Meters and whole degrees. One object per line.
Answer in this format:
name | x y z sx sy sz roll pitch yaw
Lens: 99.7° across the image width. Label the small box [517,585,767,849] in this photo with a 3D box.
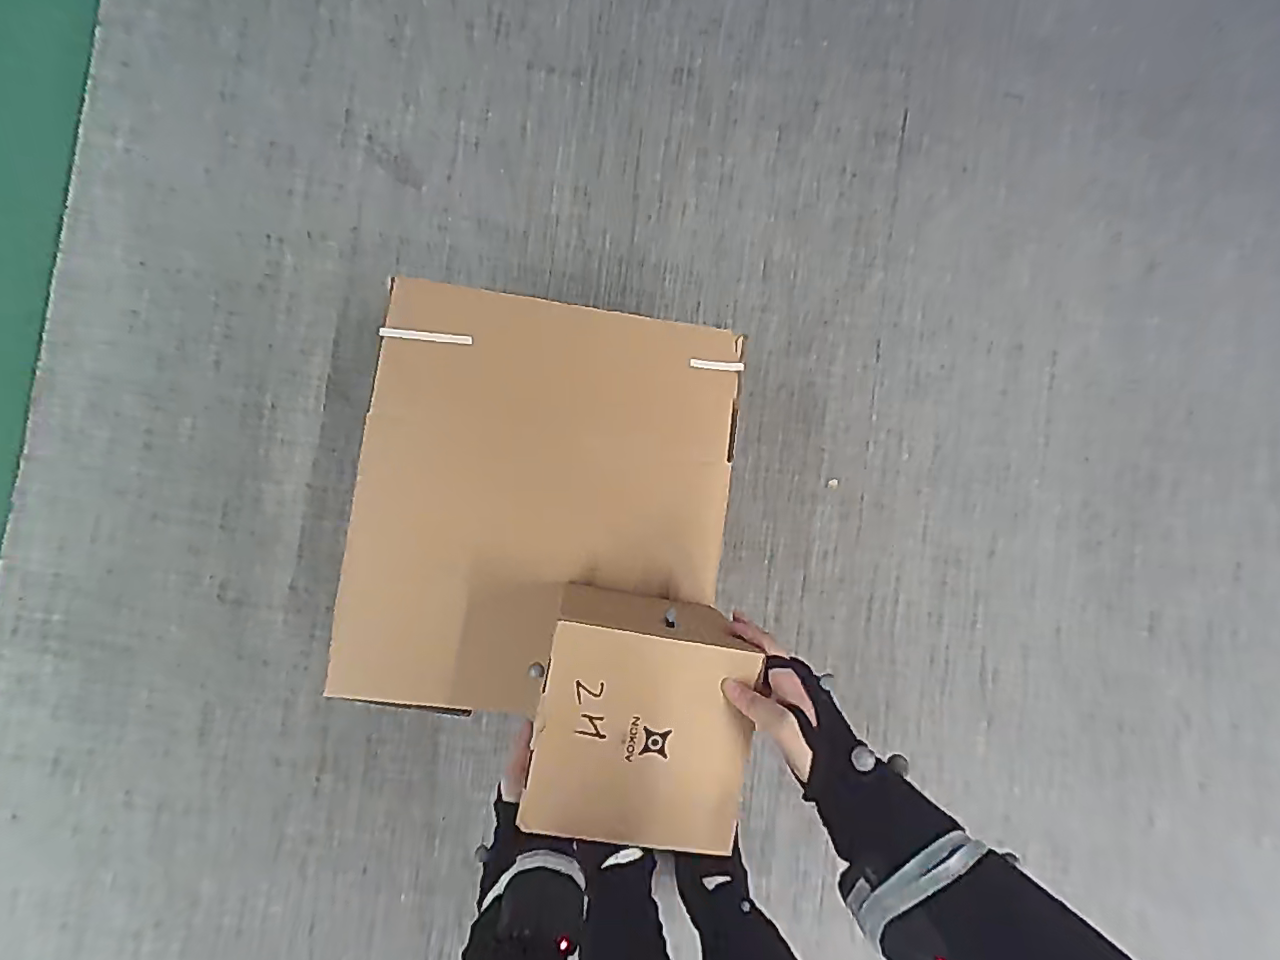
small box | -0.004 0.203 0.509 0.179 0.176 0.168 11 88 -6
